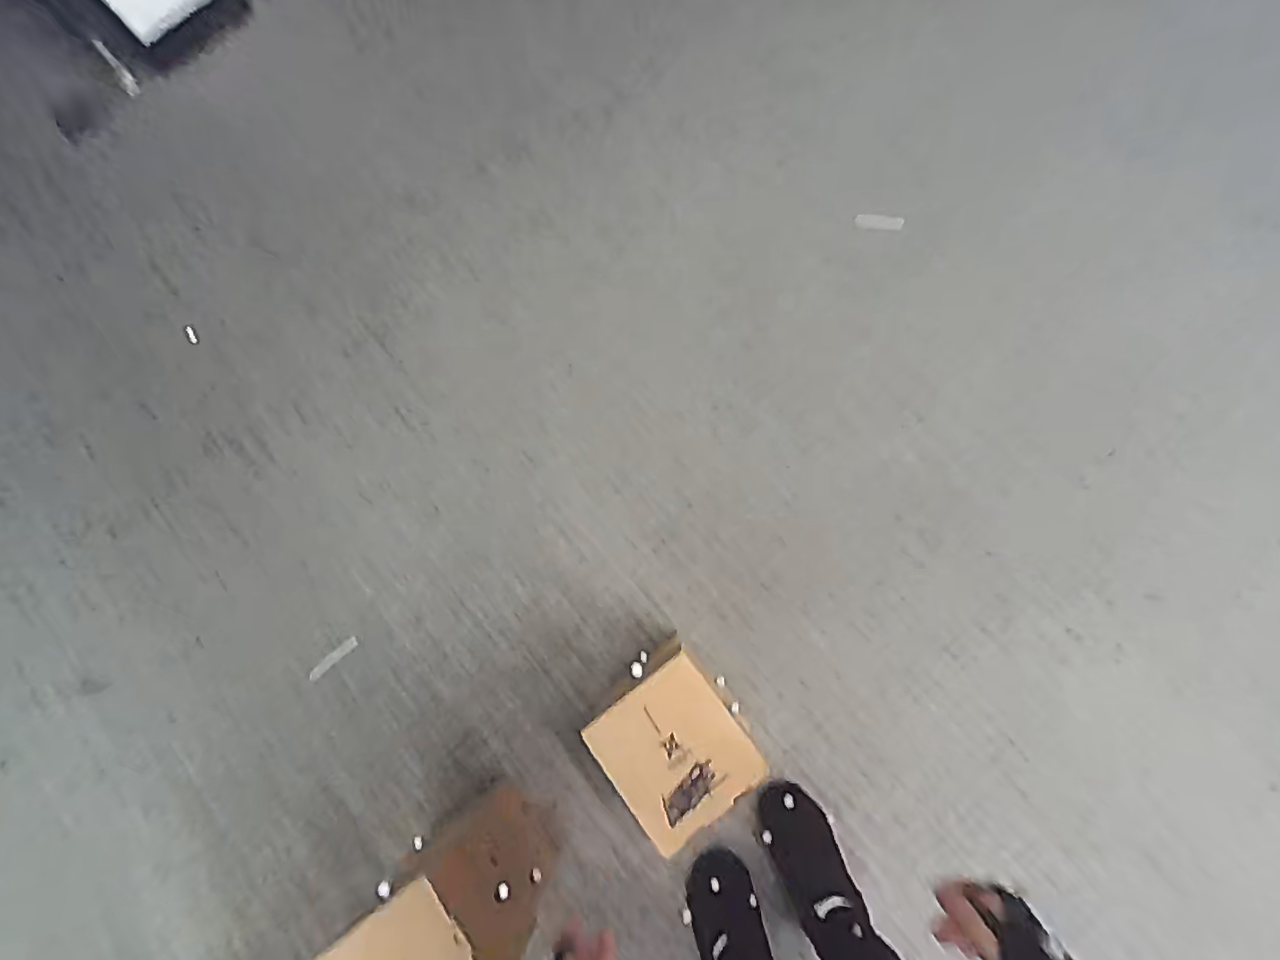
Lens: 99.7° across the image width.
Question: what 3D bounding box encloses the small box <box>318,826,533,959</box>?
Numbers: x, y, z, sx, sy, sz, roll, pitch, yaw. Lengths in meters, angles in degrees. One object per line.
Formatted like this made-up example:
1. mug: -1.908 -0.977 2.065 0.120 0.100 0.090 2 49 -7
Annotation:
1. small box: -0.272 0.614 0.719 0.179 0.176 0.168 -37 77 -4

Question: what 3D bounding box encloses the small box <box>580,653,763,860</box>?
1. small box: 0.044 0.361 0.748 0.168 0.176 0.179 -37 77 -4

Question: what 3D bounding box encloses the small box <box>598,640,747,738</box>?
1. small box: 0.055 0.391 0.910 0.168 0.176 0.179 -39 79 -5
